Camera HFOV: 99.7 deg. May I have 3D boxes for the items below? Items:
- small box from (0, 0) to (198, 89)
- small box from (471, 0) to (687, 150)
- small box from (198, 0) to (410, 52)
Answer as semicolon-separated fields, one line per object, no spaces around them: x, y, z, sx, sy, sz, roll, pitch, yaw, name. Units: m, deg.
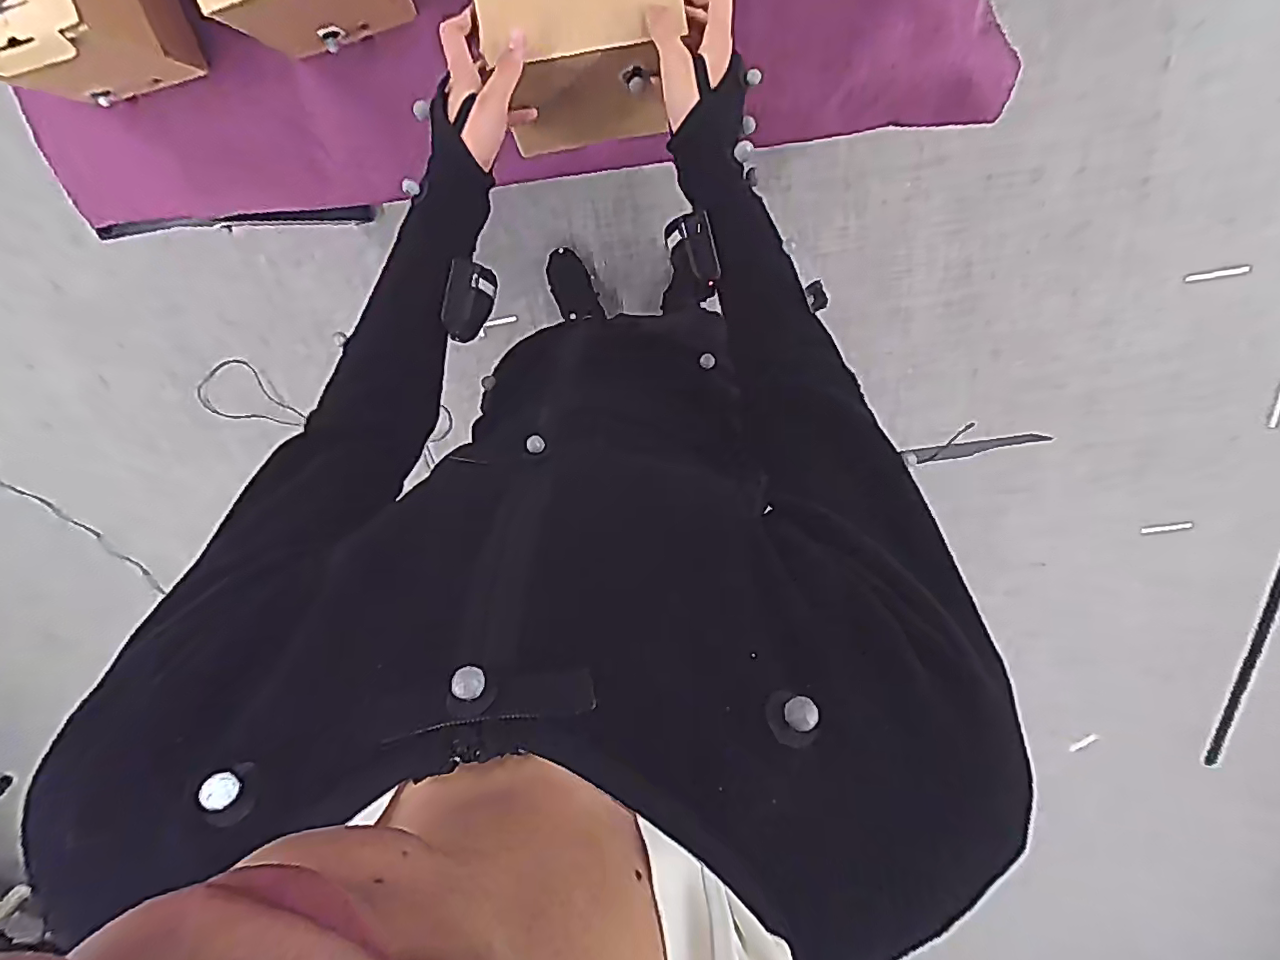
-0.647;-0.553;0.587;0.168;0.176;0.179;-10;113;6;small box
-0.061;-0.448;0.516;0.179;0.176;0.168;-10;99;1;small box
-0.376;-0.594;0.563;0.168;0.176;0.179;-12;114;8;small box
